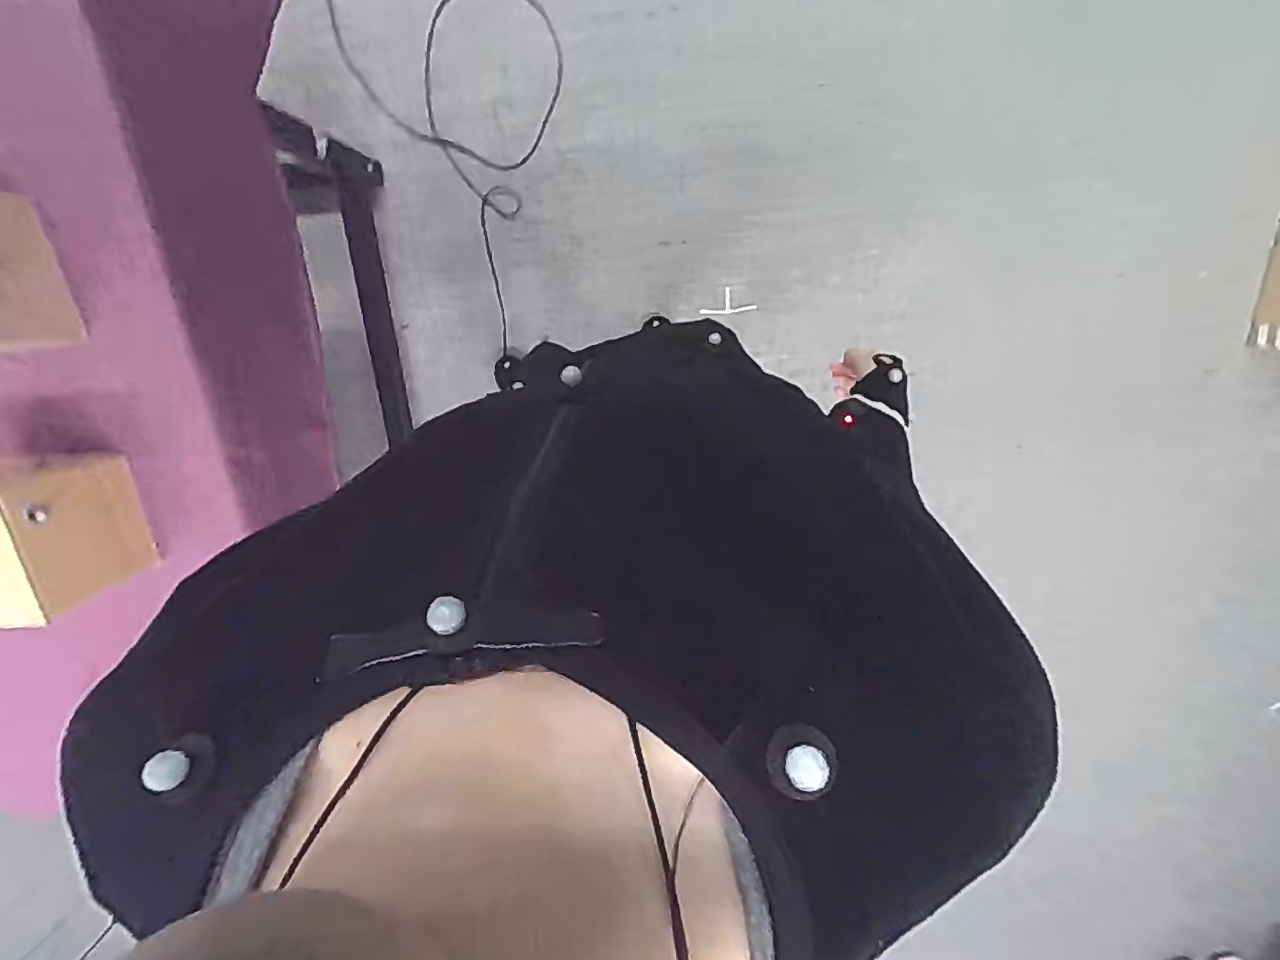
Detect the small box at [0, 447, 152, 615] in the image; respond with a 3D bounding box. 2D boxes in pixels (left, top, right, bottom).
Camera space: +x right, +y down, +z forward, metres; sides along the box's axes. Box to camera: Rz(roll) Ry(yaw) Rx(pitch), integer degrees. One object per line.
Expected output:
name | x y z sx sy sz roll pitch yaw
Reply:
small box | -0.816 0.061 0.721 0.168 0.176 0.179 -2 107 3
